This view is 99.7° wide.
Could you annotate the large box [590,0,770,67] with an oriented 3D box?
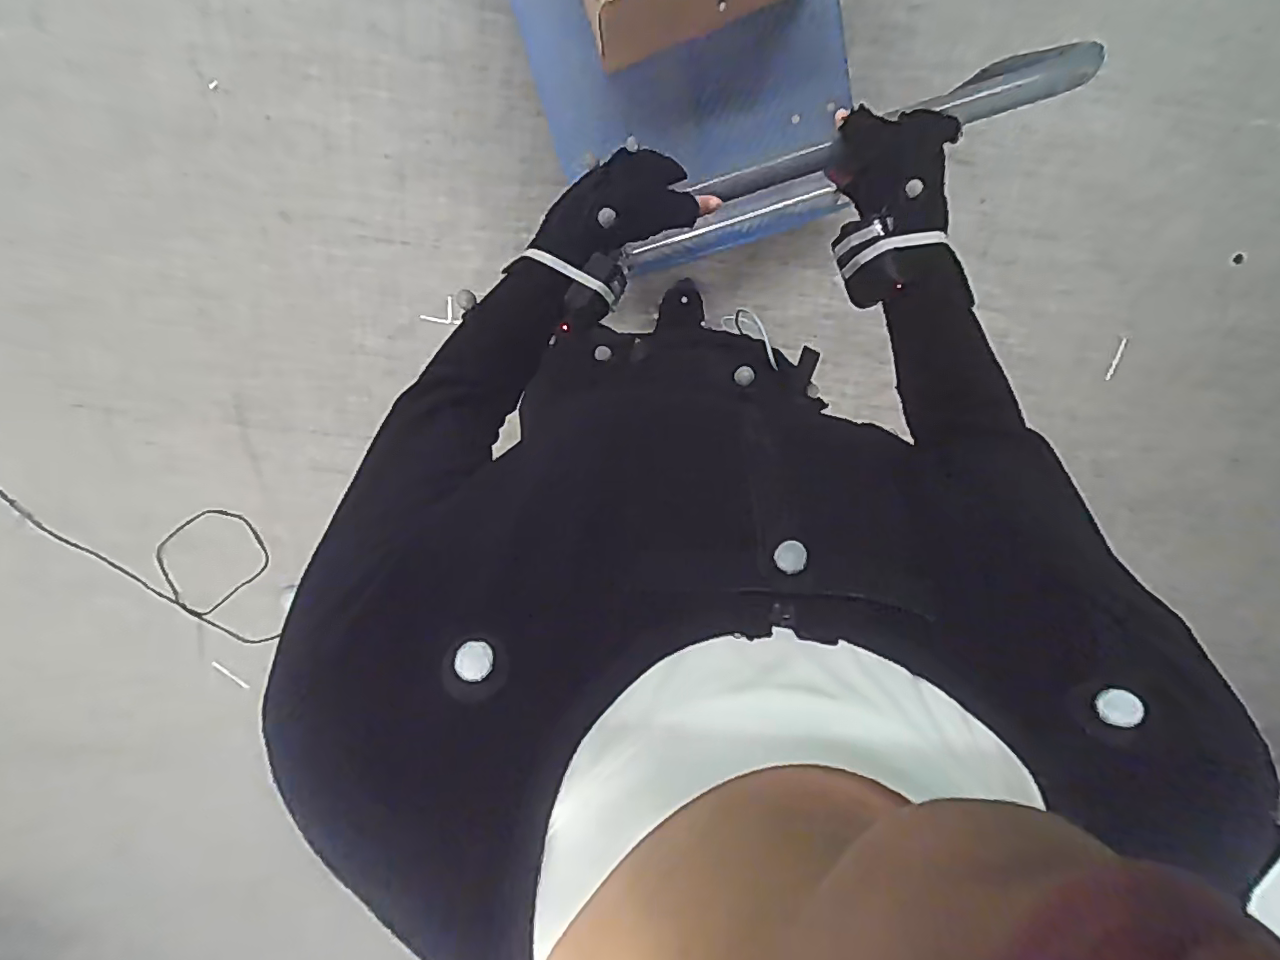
[{"bbox_3d":[0.085,-0.919,0.819,0.408,0.320,0.320,-18,111,7],"label":"large box"}]
